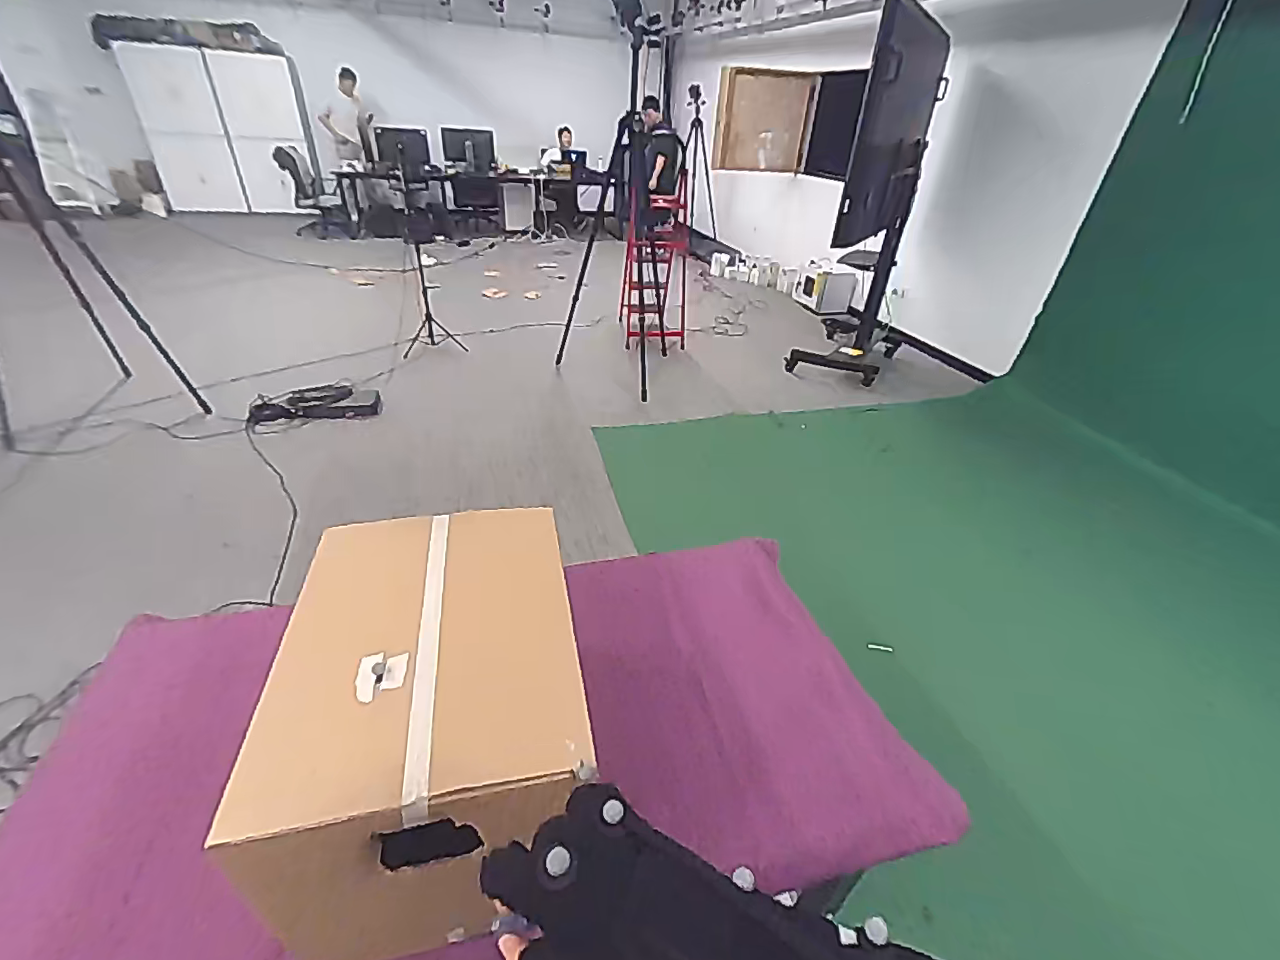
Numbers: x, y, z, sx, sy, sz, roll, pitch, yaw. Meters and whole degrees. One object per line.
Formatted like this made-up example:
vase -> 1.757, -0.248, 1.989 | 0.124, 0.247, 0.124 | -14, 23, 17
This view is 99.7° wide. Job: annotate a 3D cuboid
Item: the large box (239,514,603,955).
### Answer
large box -> -0.242, 0.293, 0.714 | 0.320, 0.320, 0.408 | -4, 35, -13
